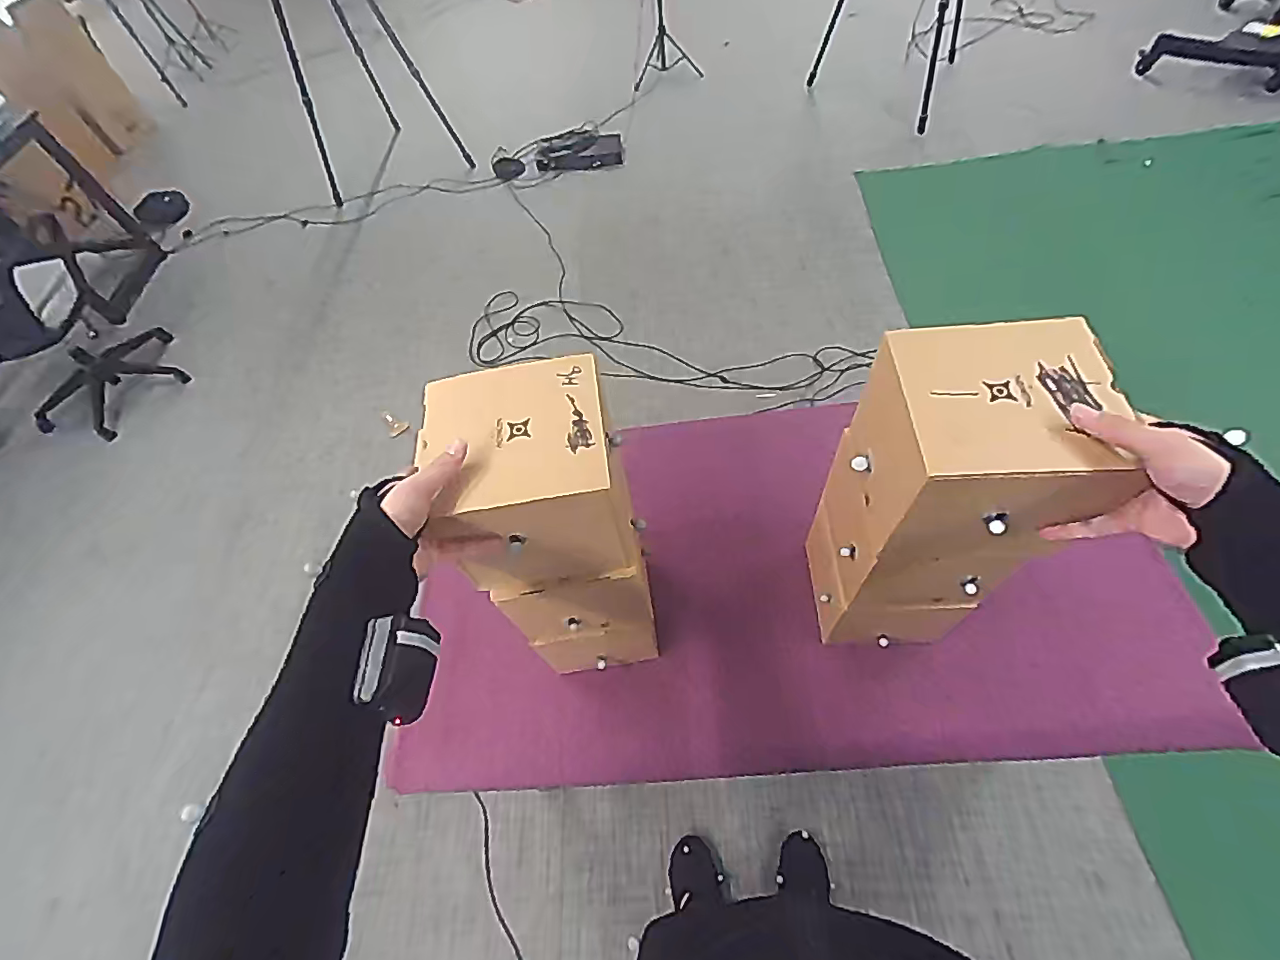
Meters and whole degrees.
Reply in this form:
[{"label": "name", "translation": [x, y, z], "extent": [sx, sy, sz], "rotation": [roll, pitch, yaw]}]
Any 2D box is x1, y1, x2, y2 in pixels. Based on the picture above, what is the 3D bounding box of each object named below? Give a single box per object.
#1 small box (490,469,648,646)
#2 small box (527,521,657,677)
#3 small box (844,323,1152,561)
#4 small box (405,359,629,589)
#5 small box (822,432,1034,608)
[{"label": "small box", "translation": [-0.088, 0.096, 0.706], "extent": [0.168, 0.176, 0.179], "rotation": [-12, 57, 1]}, {"label": "small box", "translation": [-0.071, 0.187, 0.839], "extent": [0.168, 0.176, 0.179], "rotation": [-10, 57, 3]}, {"label": "small box", "translation": [0.315, -0.029, 0.526], "extent": [0.179, 0.176, 0.168], "rotation": [-2, 57, 7]}, {"label": "small box", "translation": [-0.116, 0.002, 0.573], "extent": [0.179, 0.176, 0.168], "rotation": [-10, 56, 2]}, {"label": "small box", "translation": [0.333, 0.052, 0.668], "extent": [0.168, 0.176, 0.179], "rotation": [-4, 57, 6]}]
